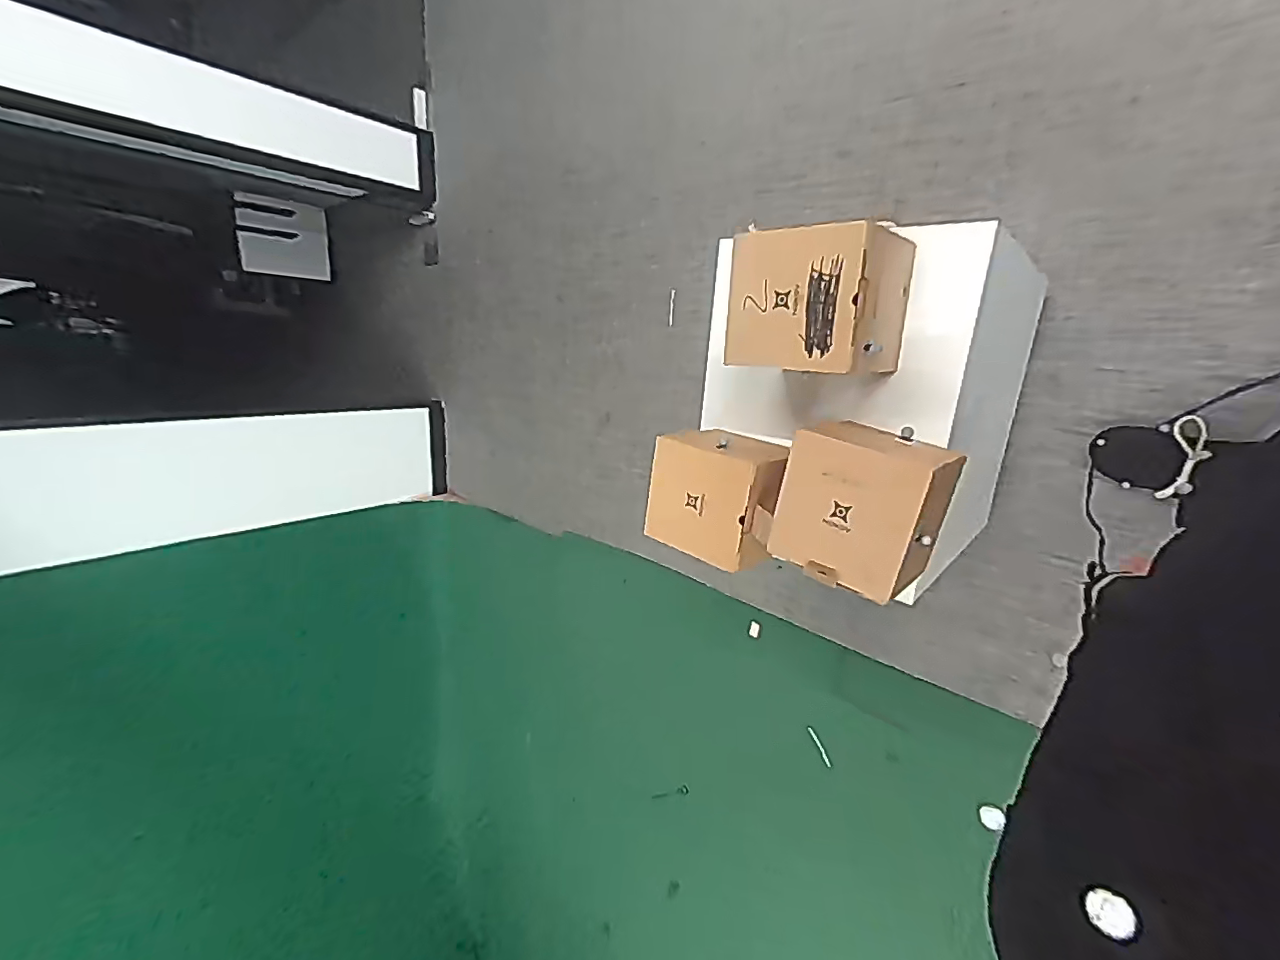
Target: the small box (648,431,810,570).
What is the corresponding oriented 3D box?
[{"bbox_3d":[0.140,0.020,0.856,0.179,0.176,0.168,20,110,37],"label":"small box"}]
